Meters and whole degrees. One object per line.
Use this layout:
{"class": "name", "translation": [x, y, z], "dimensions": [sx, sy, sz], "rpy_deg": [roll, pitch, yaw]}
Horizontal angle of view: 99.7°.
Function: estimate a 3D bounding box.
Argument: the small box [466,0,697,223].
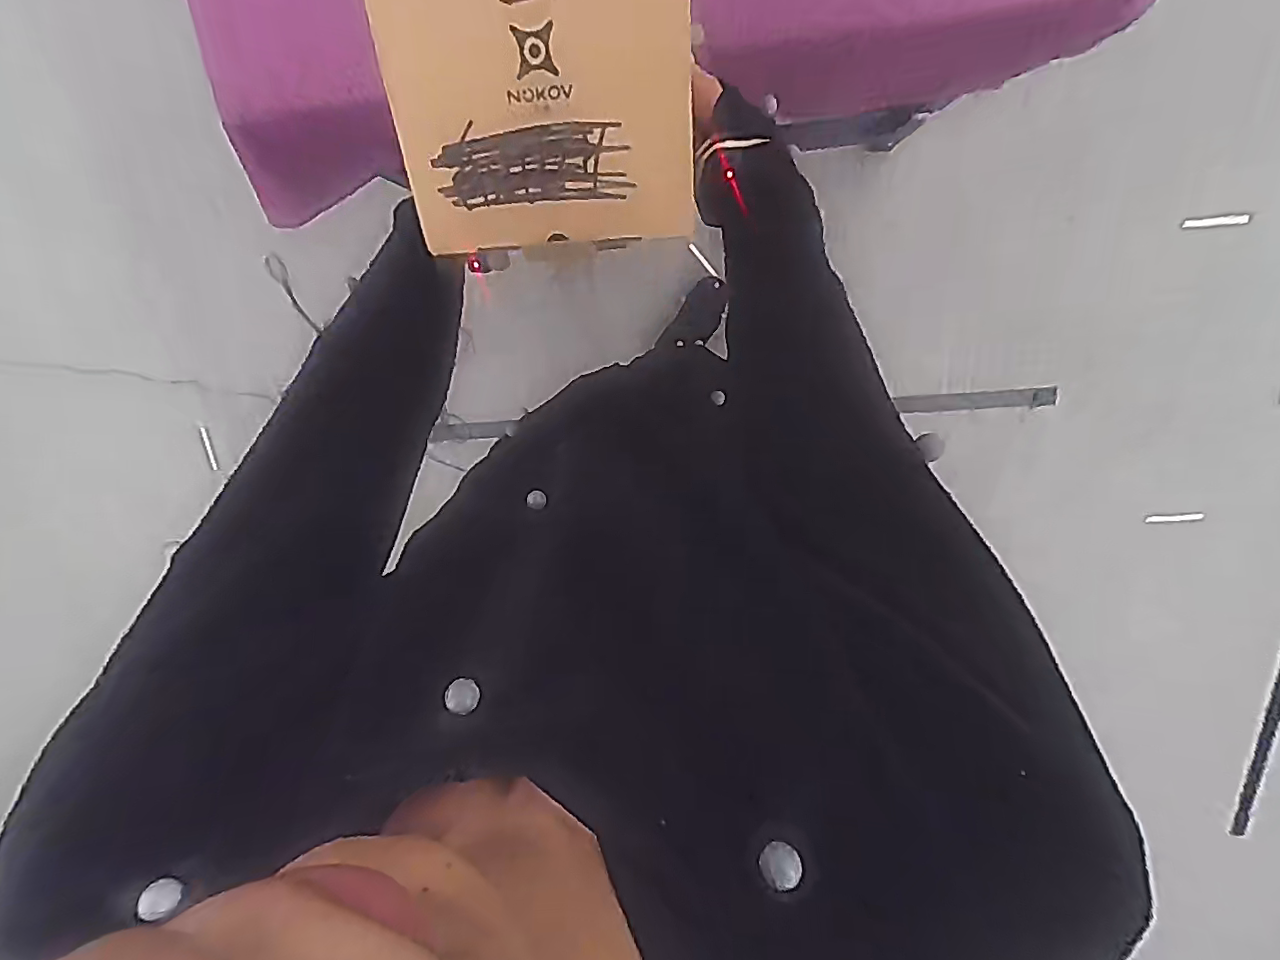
{"class": "small box", "translation": [-0.038, -0.344, 0.491], "dimensions": [0.168, 0.176, 0.179], "rpy_deg": [-4, 121, 6]}
